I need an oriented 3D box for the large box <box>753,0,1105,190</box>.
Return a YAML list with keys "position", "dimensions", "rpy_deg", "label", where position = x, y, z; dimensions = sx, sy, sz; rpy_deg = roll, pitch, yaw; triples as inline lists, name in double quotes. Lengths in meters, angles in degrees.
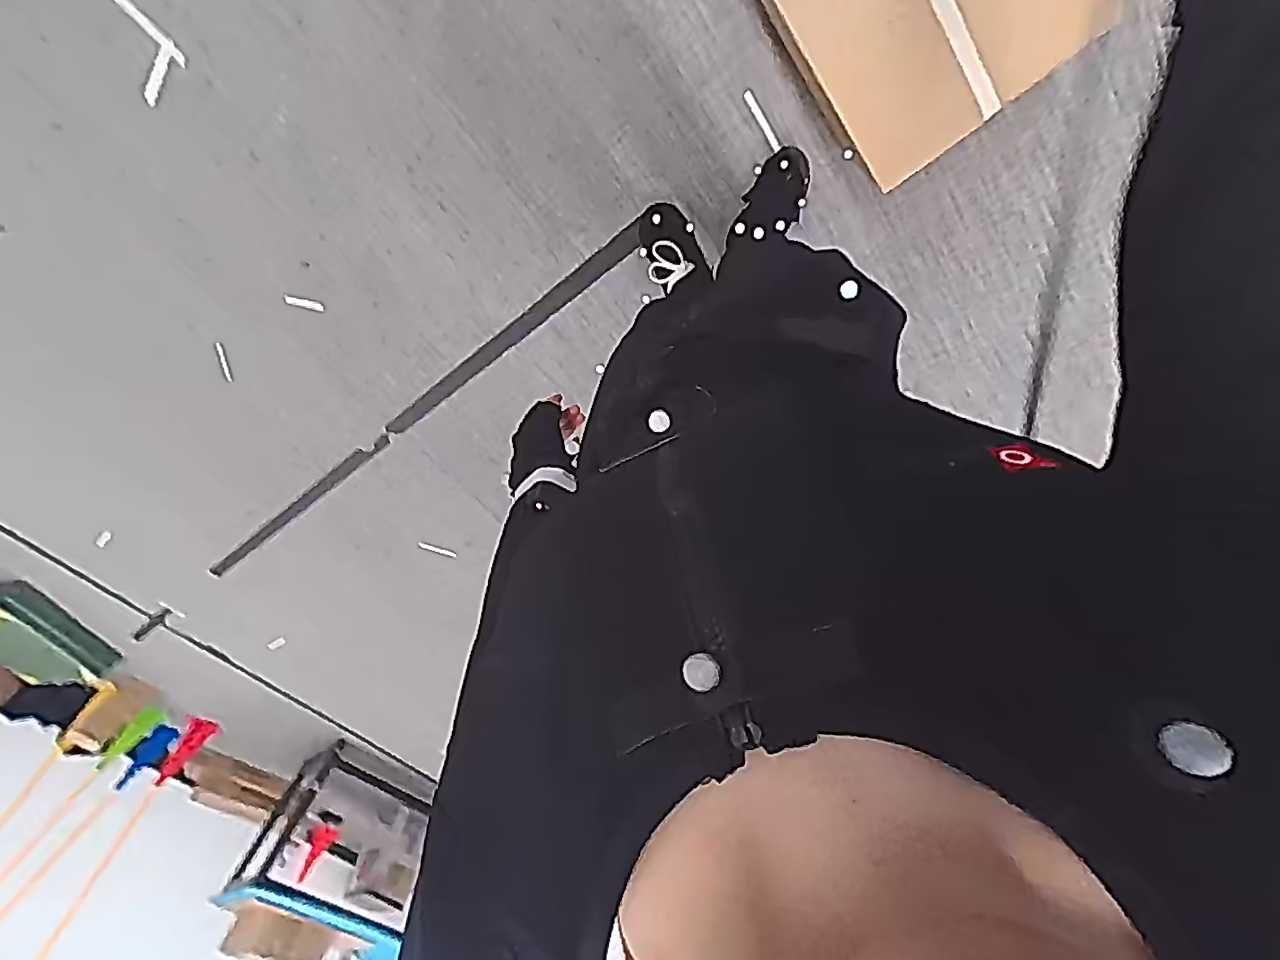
- position: [0.368, -0.727, 0.795]
  dimensions: [0.320, 0.320, 0.408]
  rpy_deg: [-32, 116, 30]
  label: "large box"
